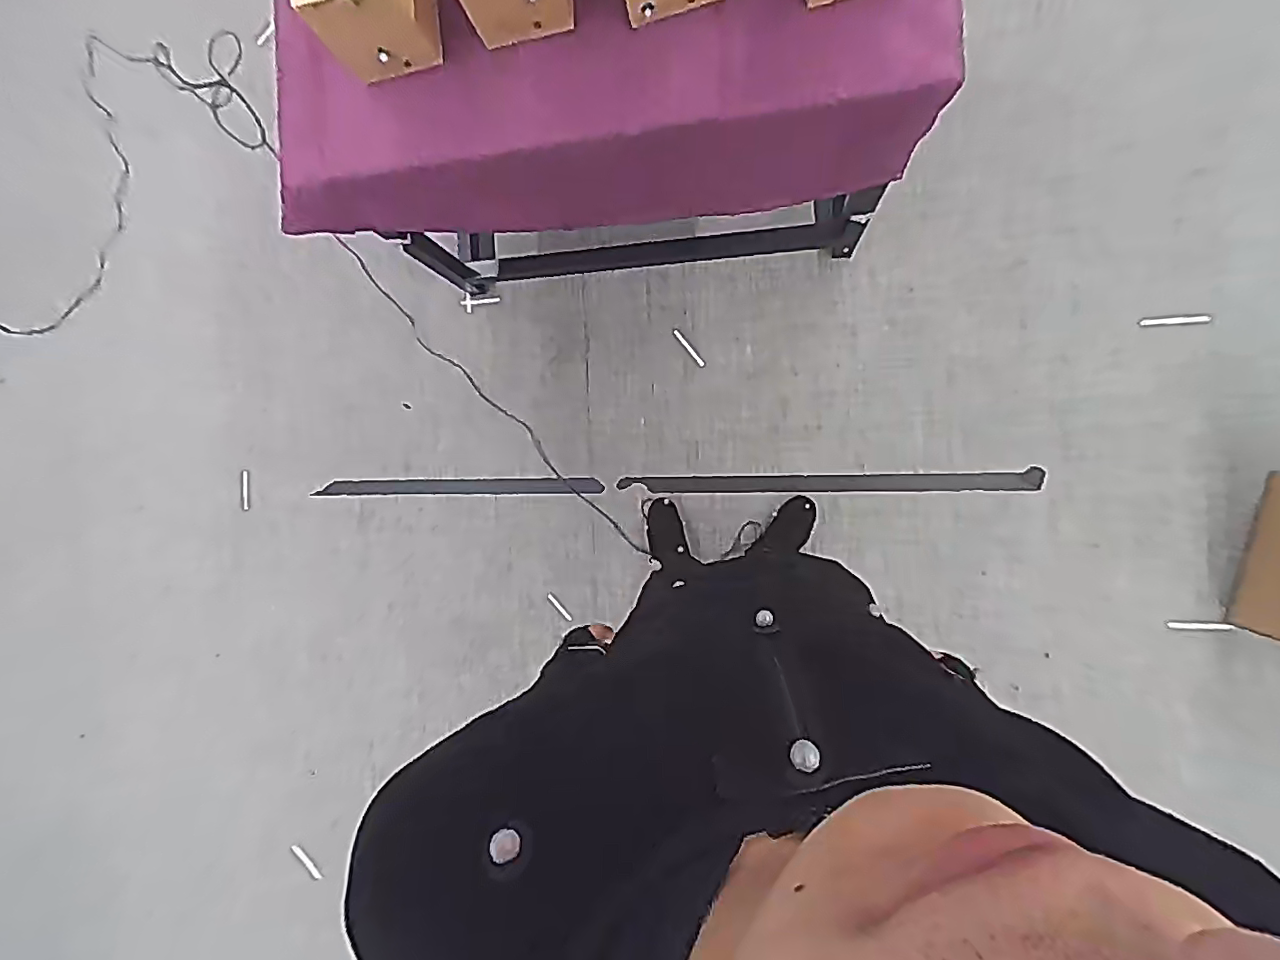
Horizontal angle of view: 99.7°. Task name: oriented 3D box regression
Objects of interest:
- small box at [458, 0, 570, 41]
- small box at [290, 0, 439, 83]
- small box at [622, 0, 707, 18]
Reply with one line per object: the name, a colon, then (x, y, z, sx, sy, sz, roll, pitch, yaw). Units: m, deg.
small box: (-0.217, -0.860, 0.875, 0.168, 0.176, 0.179, -5, 89, 10)
small box: (-0.463, -0.831, 0.917, 0.168, 0.176, 0.179, -6, 90, 11)
small box: (0.031, -0.865, 0.829, 0.168, 0.176, 0.179, -10, 88, 10)
